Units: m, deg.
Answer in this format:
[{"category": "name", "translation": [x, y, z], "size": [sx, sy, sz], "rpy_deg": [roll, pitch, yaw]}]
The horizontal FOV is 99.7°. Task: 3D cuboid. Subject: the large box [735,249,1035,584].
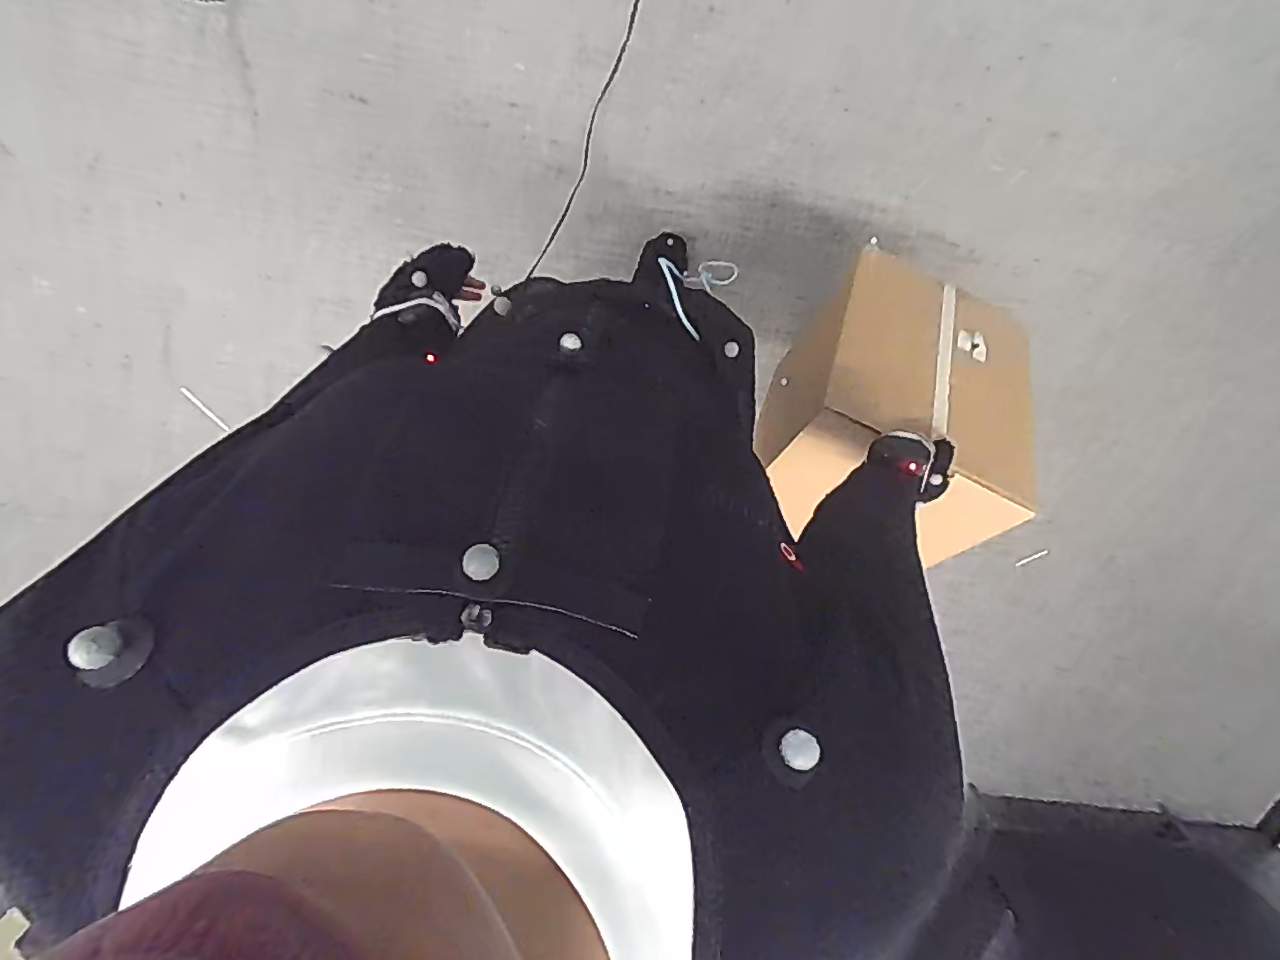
[{"category": "large box", "translation": [0.398, -0.098, 0.921], "size": [0.320, 0.408, 0.320], "rpy_deg": [27, 146, -2]}]
